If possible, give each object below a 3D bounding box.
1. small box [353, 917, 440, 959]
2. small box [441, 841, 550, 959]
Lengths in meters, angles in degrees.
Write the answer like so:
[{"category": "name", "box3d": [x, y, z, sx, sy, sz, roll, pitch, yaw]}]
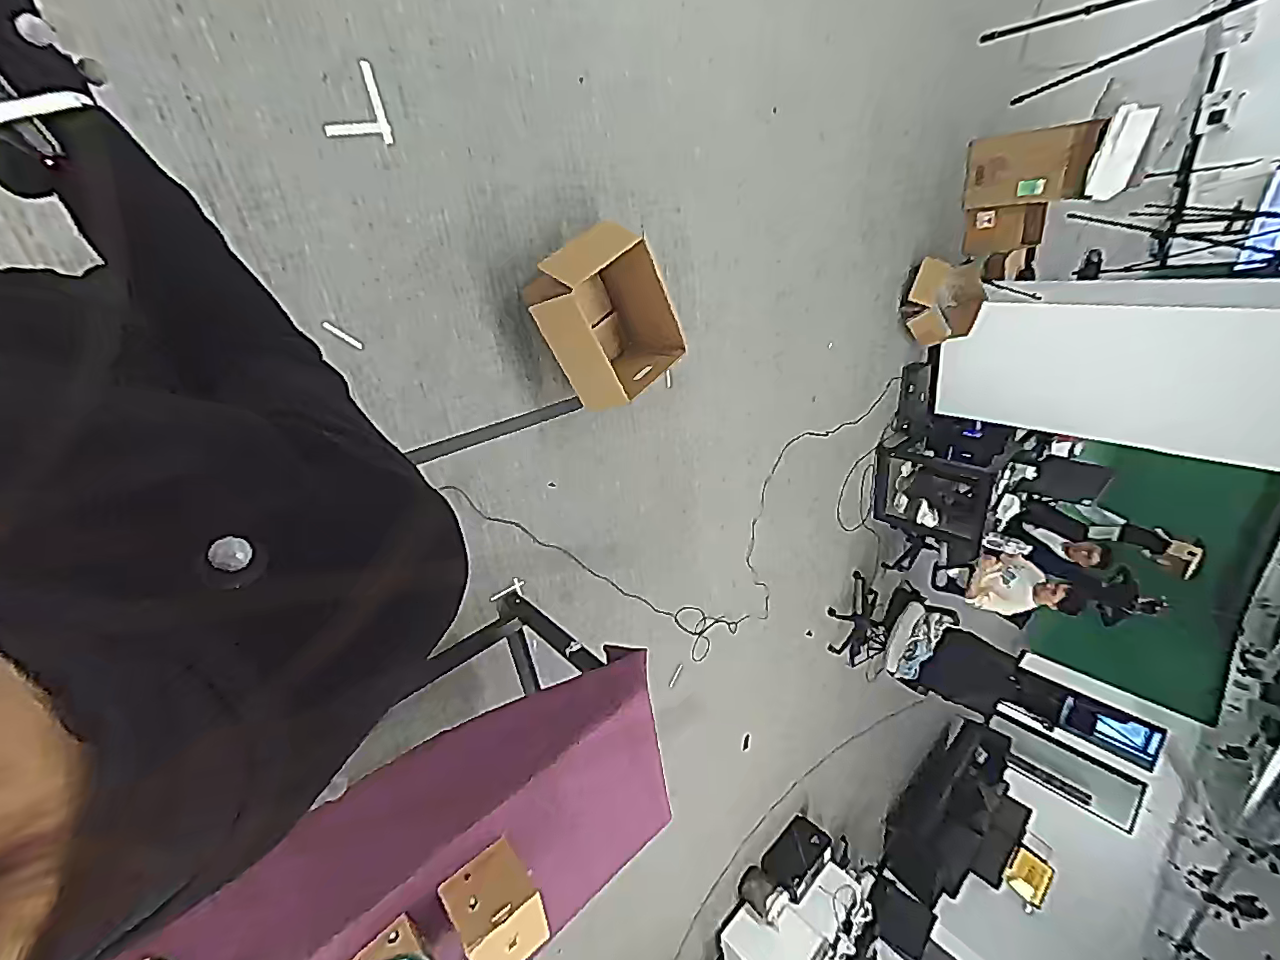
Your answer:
[{"category": "small box", "box3d": [-0.490, 1.045, 1.093, 0.168, 0.176, 0.179, -31, 126, -32]}, {"category": "small box", "box3d": [-0.327, 0.966, 1.219, 0.168, 0.176, 0.179, -23, 120, -35]}]
